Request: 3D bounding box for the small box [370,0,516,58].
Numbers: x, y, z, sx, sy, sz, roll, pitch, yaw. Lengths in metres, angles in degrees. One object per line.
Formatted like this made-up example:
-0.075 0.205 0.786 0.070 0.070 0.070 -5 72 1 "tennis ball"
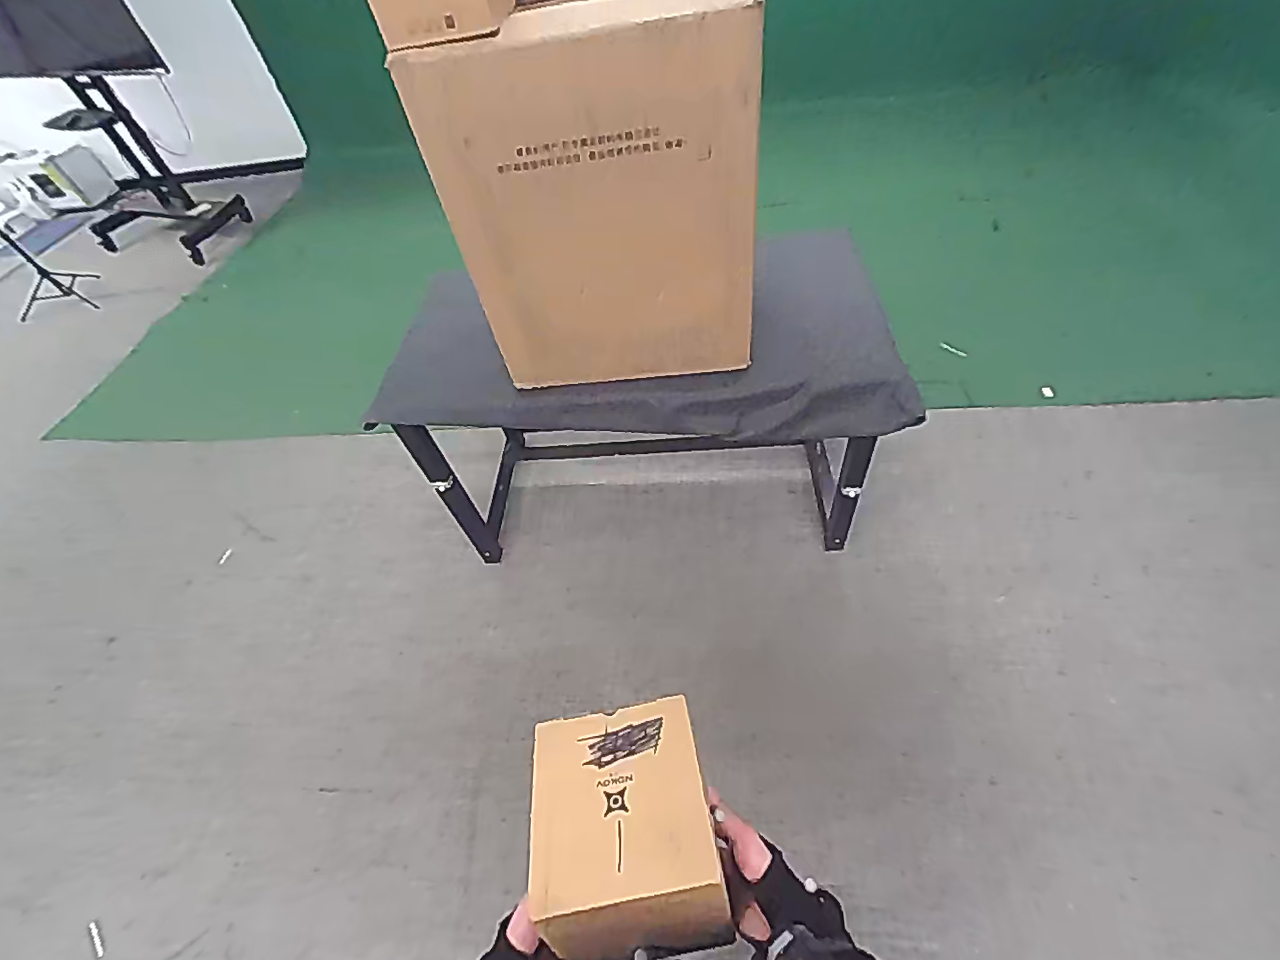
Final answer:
-0.289 -0.728 0.768 0.168 0.176 0.179 -3 51 7 "small box"
